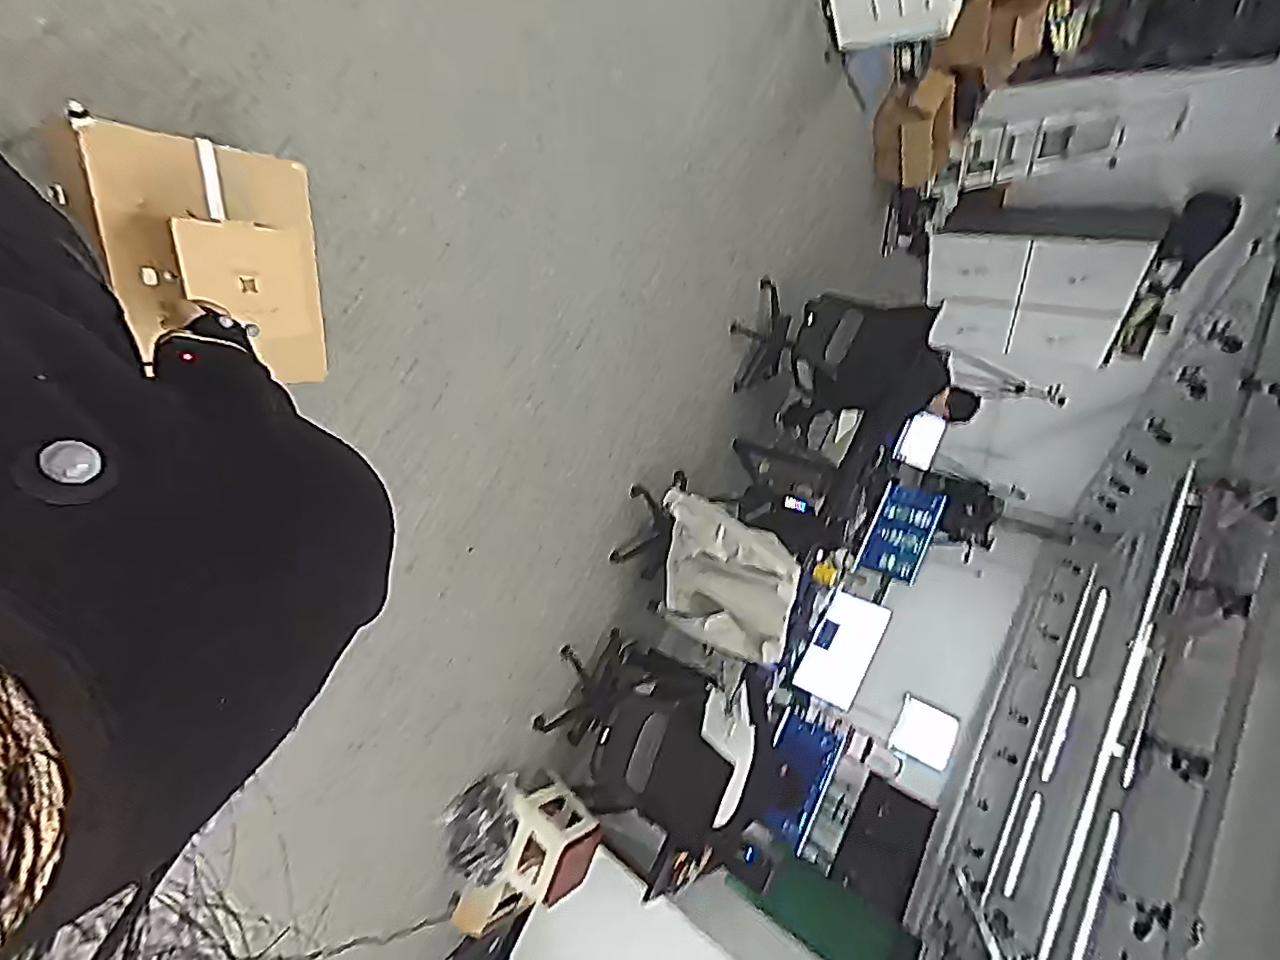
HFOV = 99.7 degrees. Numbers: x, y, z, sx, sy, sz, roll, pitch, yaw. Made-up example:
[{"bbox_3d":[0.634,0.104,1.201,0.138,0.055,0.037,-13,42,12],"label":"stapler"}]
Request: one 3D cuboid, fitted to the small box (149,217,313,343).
[{"bbox_3d":[-0.678,-0.333,0.900,0.168,0.176,0.179,-21,125,-47],"label":"small box"}]
